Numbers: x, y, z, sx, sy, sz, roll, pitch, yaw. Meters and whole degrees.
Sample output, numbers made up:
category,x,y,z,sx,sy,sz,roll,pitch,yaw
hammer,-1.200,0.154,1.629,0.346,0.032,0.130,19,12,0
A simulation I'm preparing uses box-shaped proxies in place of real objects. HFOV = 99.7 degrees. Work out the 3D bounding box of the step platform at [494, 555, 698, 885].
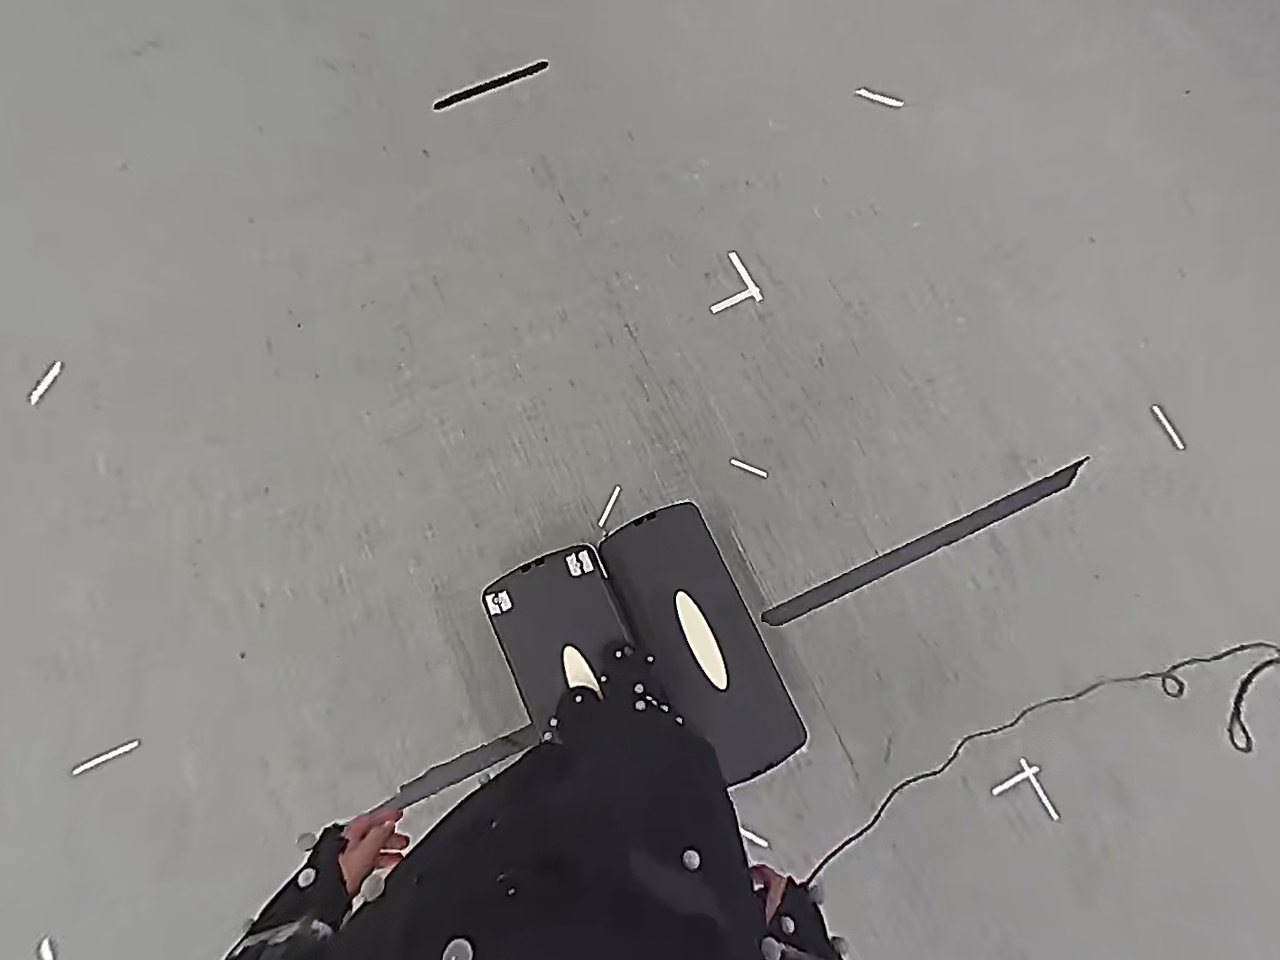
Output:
category,x,y,z,sx,sy,sz,roll,pitch,yaw
step platform,-0.110,0.524,1.265,0.286,0.204,0.684,-20,77,-6
